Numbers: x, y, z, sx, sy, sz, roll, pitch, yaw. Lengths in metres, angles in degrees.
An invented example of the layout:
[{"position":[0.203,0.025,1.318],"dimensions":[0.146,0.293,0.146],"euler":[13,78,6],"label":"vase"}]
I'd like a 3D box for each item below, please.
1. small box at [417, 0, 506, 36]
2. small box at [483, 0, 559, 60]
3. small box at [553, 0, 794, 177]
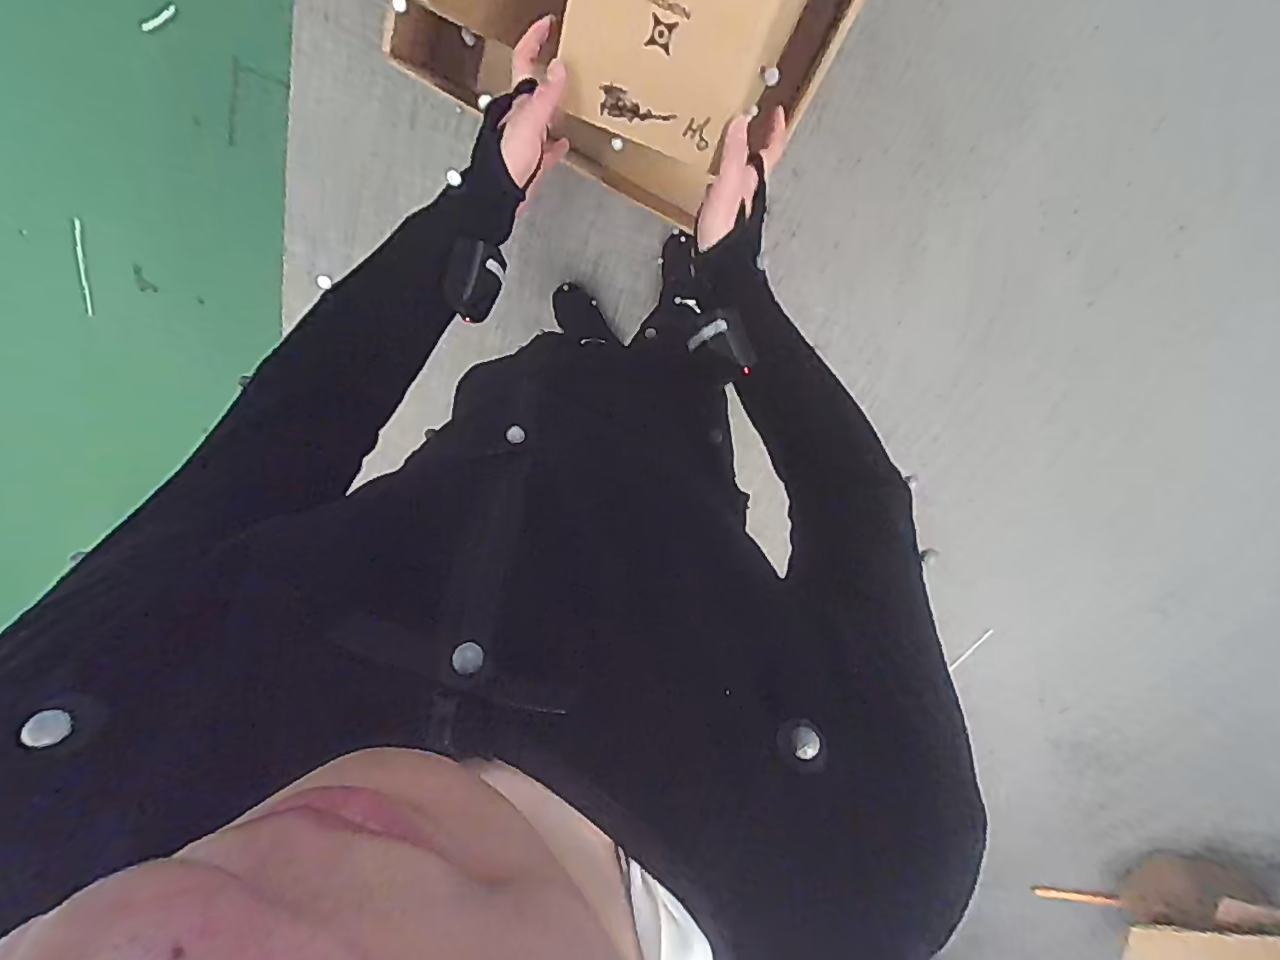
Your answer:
[{"position":[-0.215,-0.575,0.512],"dimensions":[0.168,0.176,0.179],"euler":[26,120,-4],"label":"small box"},{"position":[-0.190,-0.655,0.652],"dimensions":[0.168,0.176,0.179],"euler":[25,120,-4],"label":"small box"},{"position":[0.040,-0.410,0.496],"dimensions":[0.168,0.176,0.179],"euler":[23,126,-2],"label":"small box"}]
